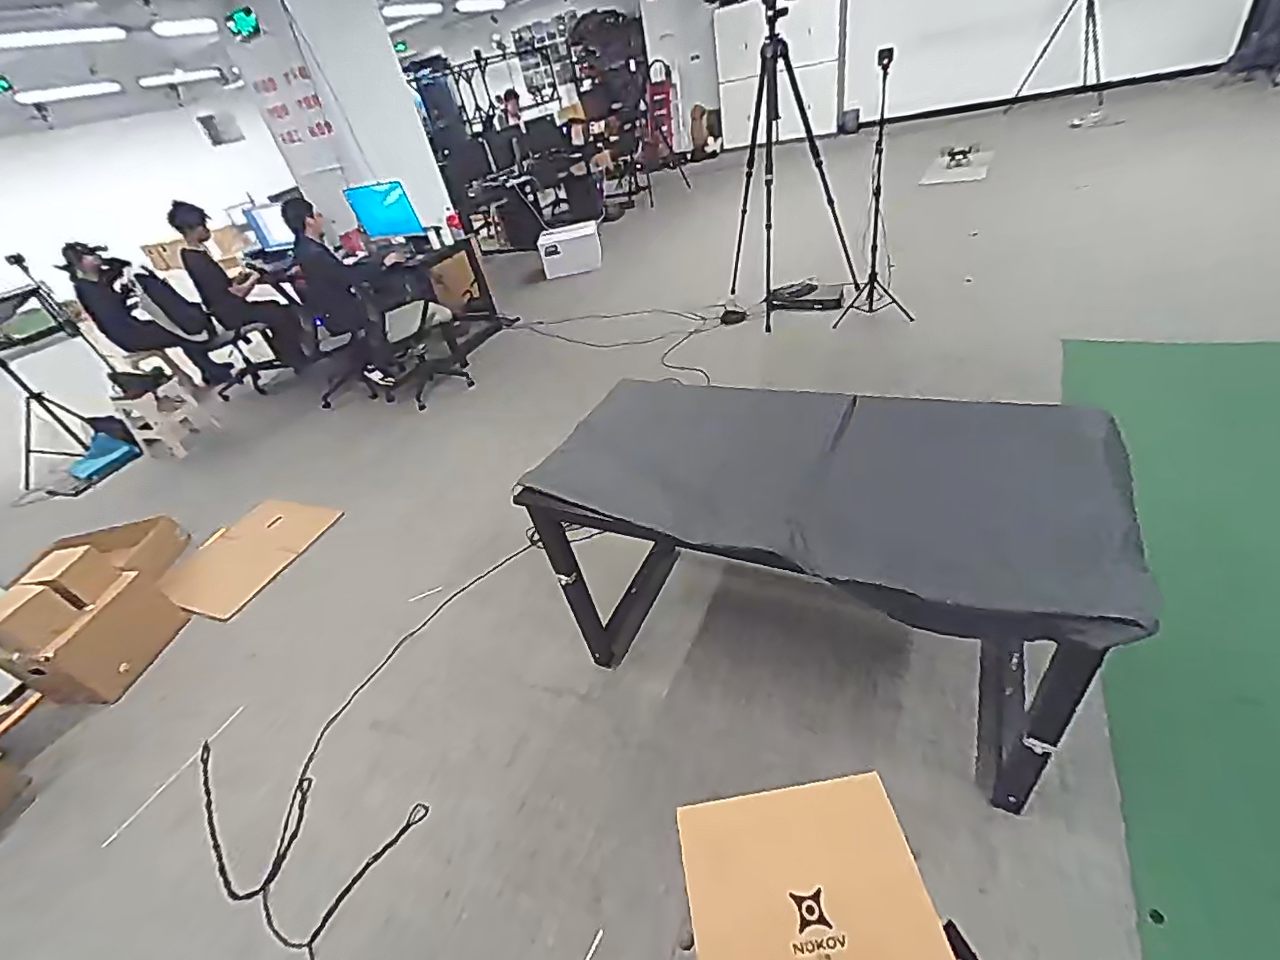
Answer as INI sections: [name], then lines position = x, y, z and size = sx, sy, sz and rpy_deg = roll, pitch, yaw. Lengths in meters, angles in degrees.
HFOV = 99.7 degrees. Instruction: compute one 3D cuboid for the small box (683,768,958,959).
[small box]
position = 0.133, 0.359, 0.422
size = 0.168, 0.176, 0.179
rpy_deg = -11, 41, 2
